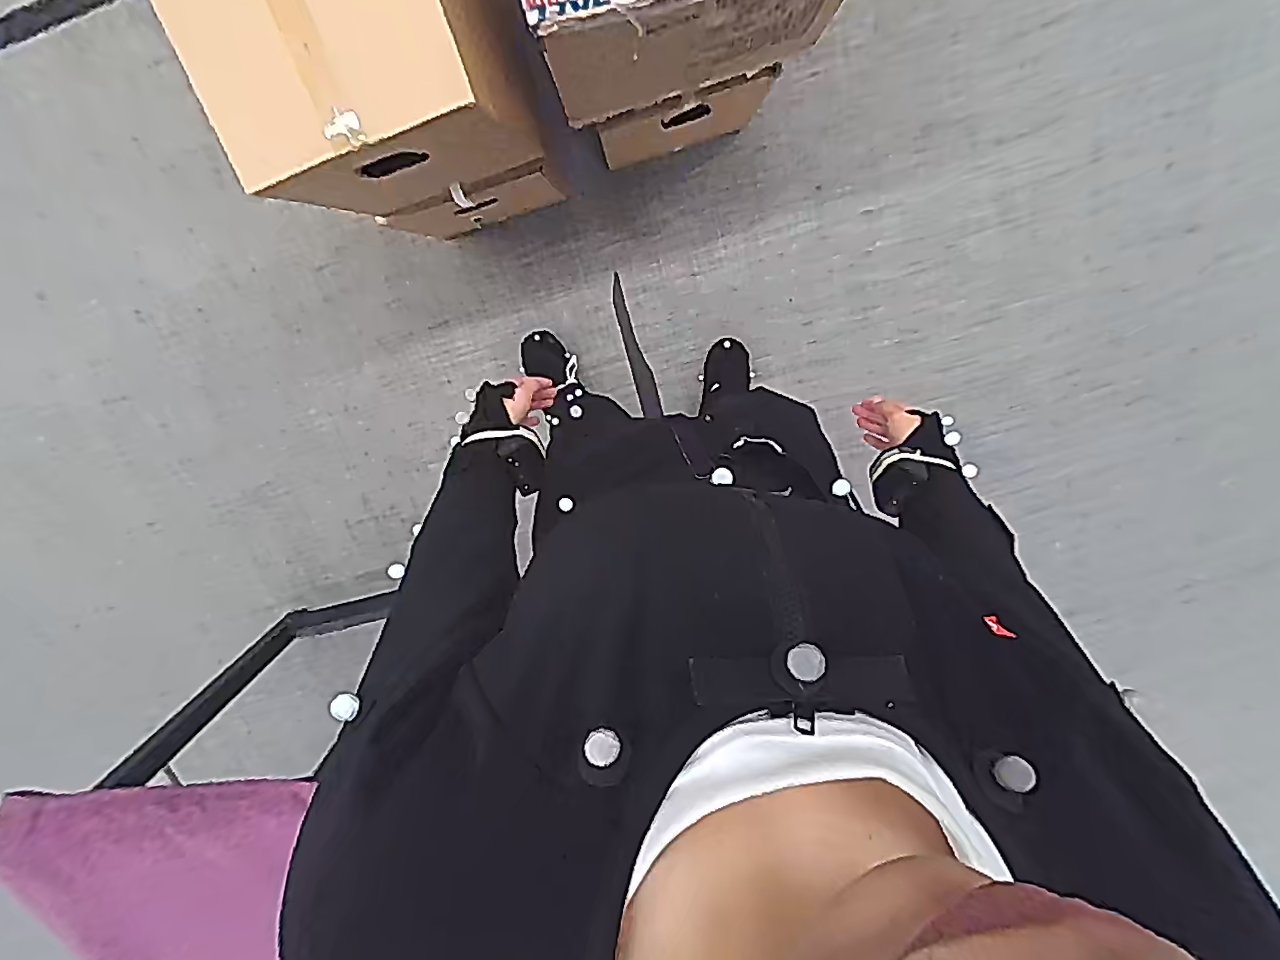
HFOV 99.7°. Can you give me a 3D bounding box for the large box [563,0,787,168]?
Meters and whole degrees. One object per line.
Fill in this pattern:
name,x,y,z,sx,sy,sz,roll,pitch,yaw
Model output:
large box,0.030,-0.845,0.958,0.320,0.320,0.408,-16,109,6
